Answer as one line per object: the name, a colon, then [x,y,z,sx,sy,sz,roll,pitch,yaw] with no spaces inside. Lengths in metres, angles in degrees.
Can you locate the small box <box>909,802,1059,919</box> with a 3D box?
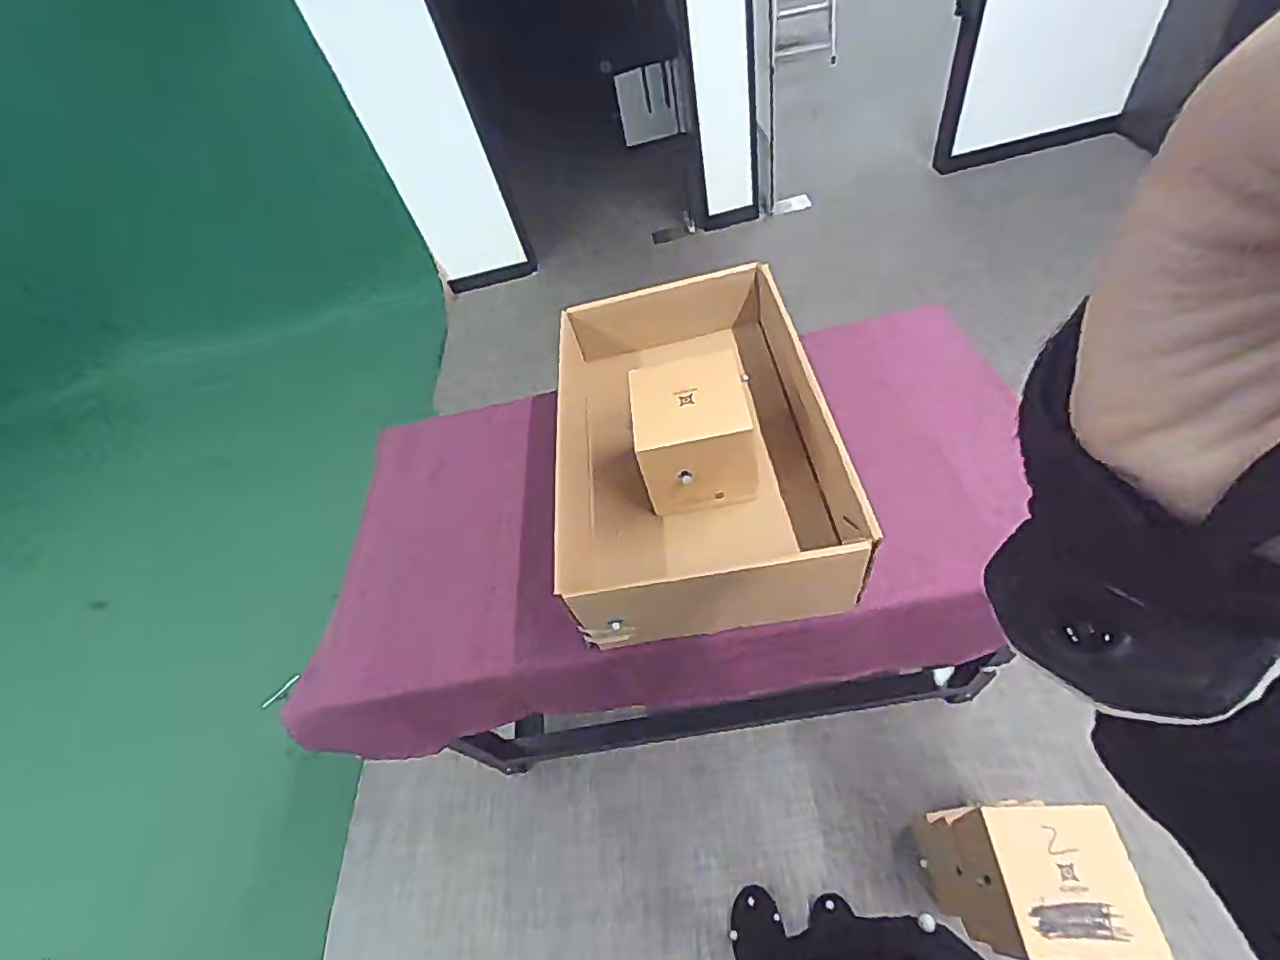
small box: [0.664,0.751,1.071,0.179,0.176,0.168,-13,51,6]

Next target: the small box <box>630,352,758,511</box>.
small box: [0.085,-0.067,0.848,0.168,0.176,0.179,-11,50,8]
